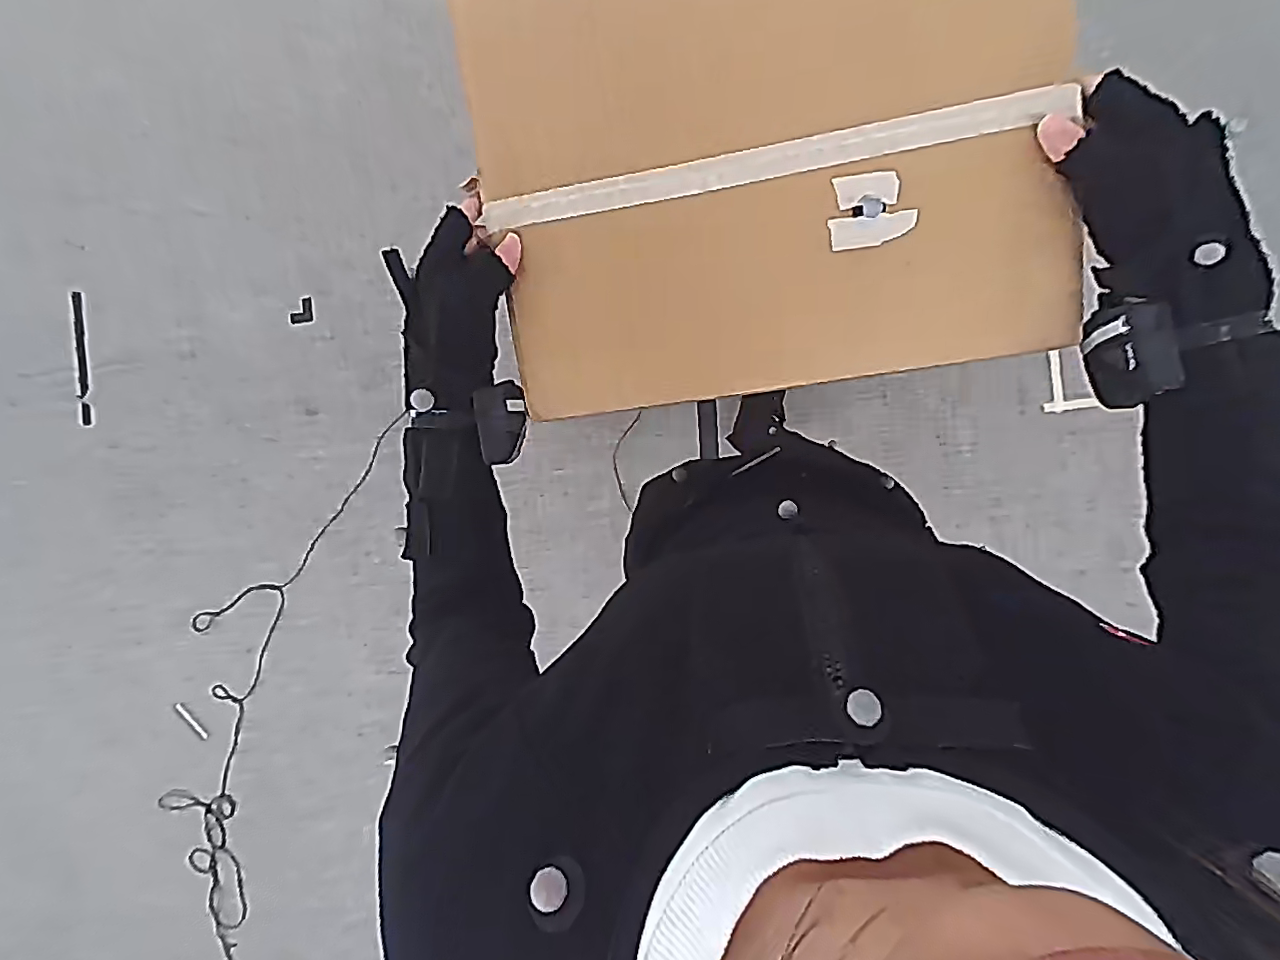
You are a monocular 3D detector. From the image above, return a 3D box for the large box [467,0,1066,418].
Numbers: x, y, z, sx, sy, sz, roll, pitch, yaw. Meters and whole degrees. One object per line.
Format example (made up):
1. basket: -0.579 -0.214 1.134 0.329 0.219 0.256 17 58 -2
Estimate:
1. large box: 0.104 -0.254 0.539 0.408 0.320 0.320 -8 100 7
